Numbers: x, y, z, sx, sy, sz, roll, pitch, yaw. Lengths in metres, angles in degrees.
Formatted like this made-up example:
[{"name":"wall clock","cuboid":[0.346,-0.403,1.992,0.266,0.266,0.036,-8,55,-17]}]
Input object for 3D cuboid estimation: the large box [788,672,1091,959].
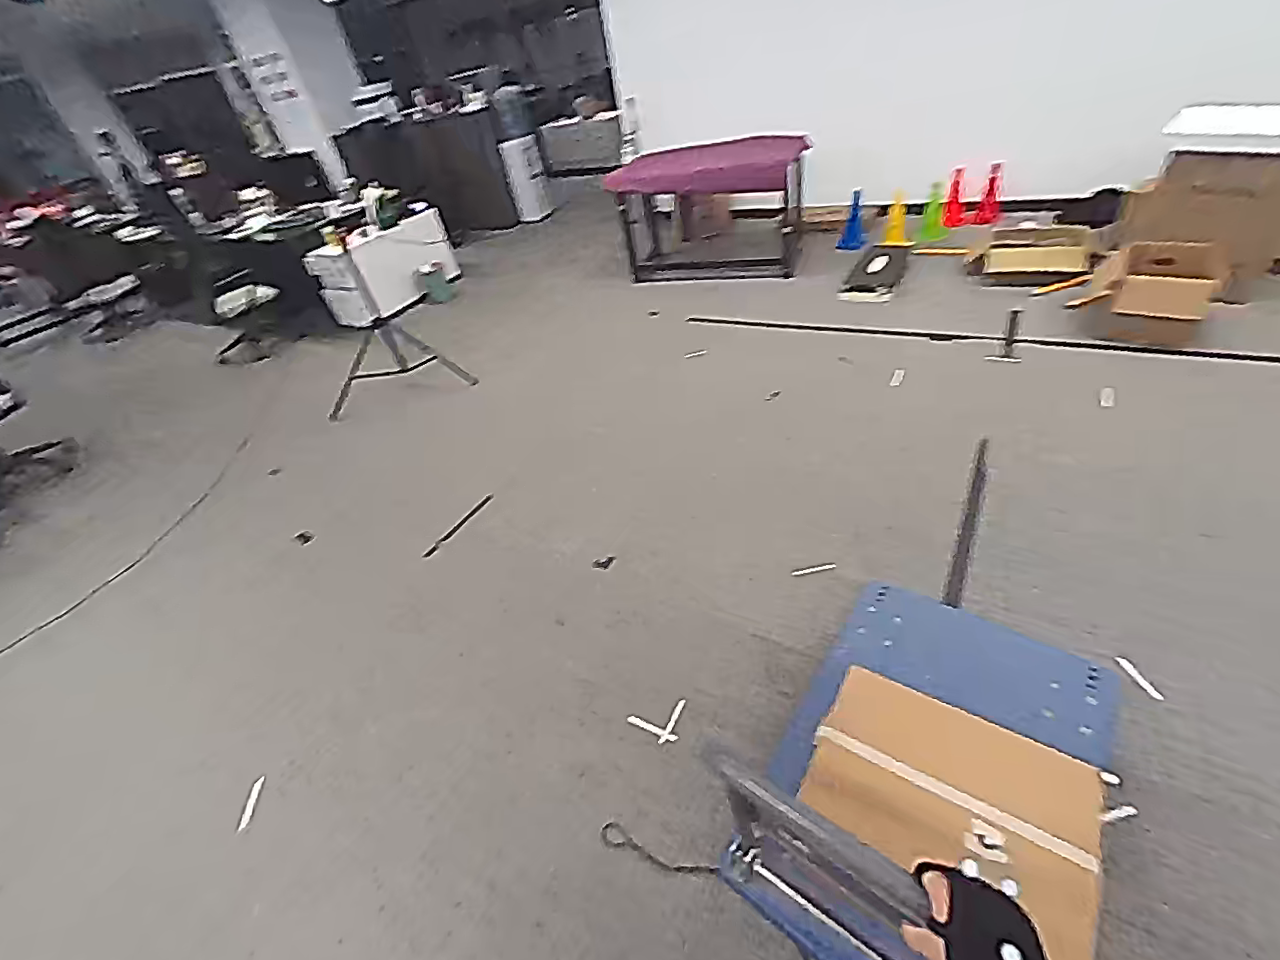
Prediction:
[{"name":"large box","cuboid":[0.520,0.636,0.996,0.408,0.320,0.320,17,49,30]}]
